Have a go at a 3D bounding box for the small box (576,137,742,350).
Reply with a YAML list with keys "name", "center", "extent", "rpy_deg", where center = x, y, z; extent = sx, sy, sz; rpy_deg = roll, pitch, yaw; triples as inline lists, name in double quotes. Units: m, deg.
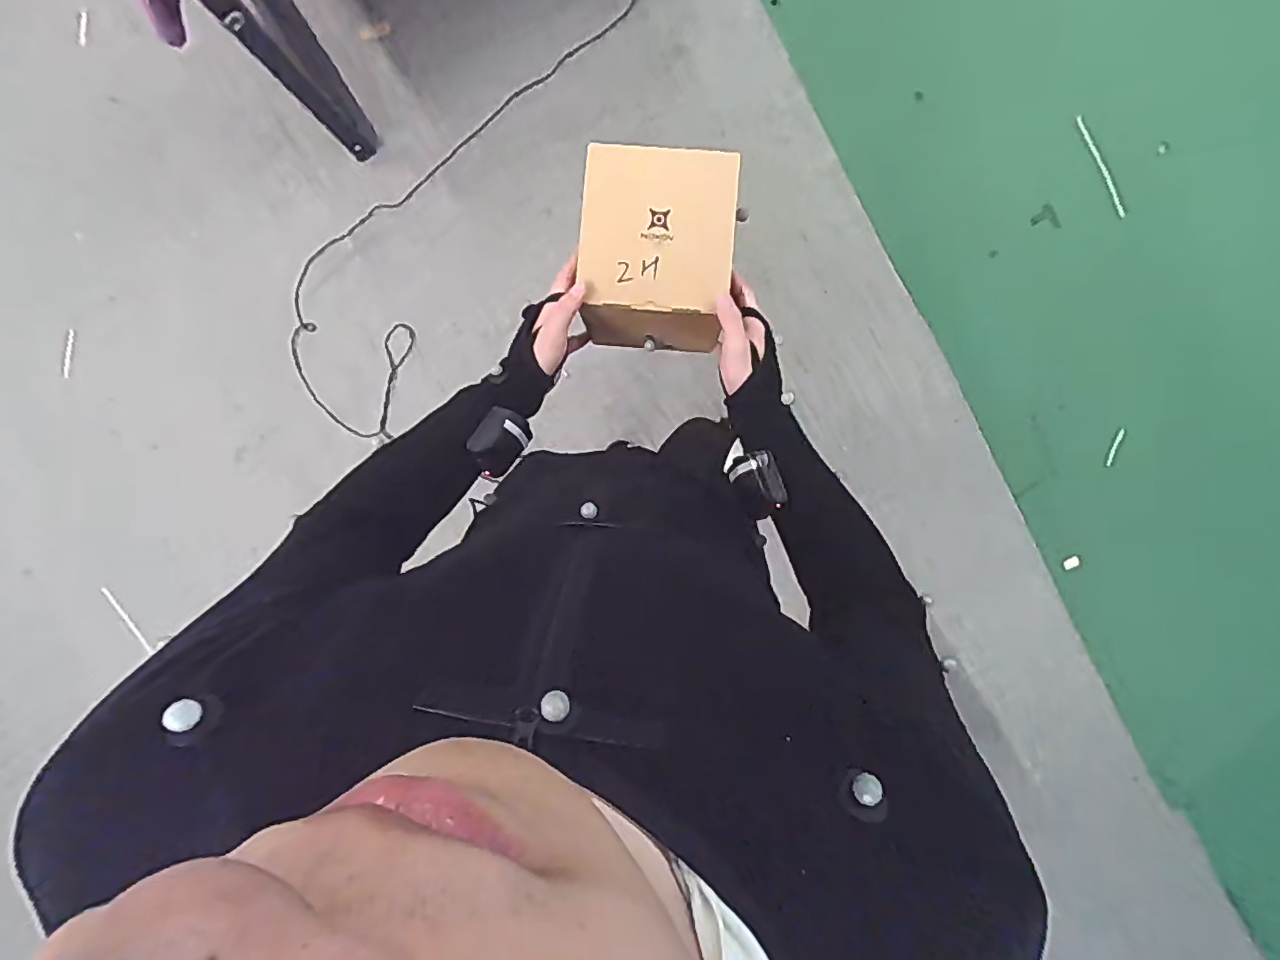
- name: "small box"
  center: [0.022, -0.269, 0.647]
  extent: [0.168, 0.176, 0.179]
  rpy_deg: [4, 89, 2]
